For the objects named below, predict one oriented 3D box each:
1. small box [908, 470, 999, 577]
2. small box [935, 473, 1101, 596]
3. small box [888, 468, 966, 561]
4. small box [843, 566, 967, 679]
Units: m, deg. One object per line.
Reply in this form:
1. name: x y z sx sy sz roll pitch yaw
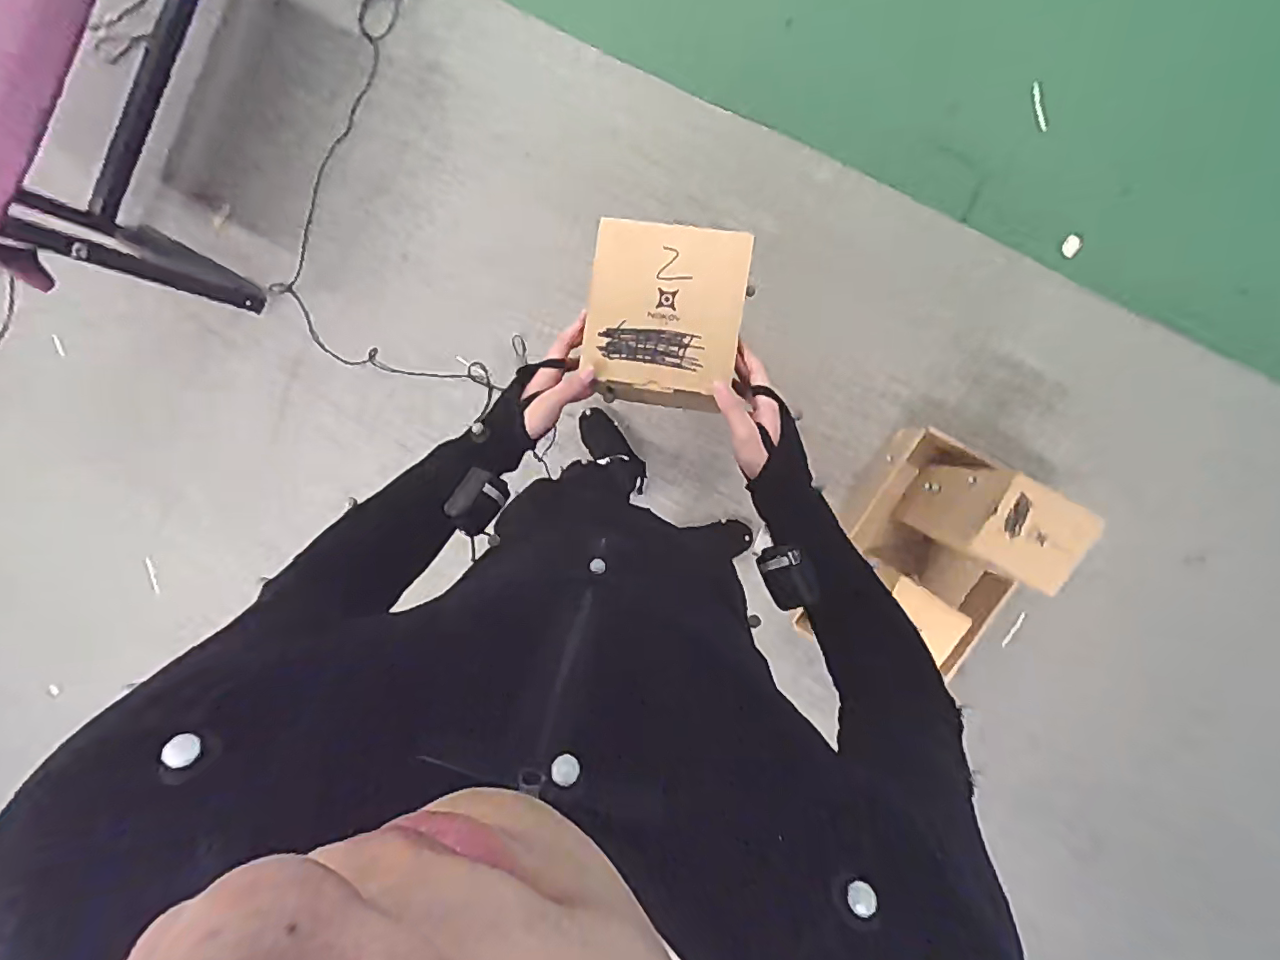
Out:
1. small box: 0.753 0.088 1.228 0.179 0.176 0.168 34 98 5
2. small box: 0.727 0.097 1.066 0.179 0.176 0.168 32 98 4
3. small box: 0.778 0.079 1.388 0.179 0.176 0.168 34 97 4
4. small box: 0.607 0.321 1.264 0.179 0.176 0.168 34 97 6
